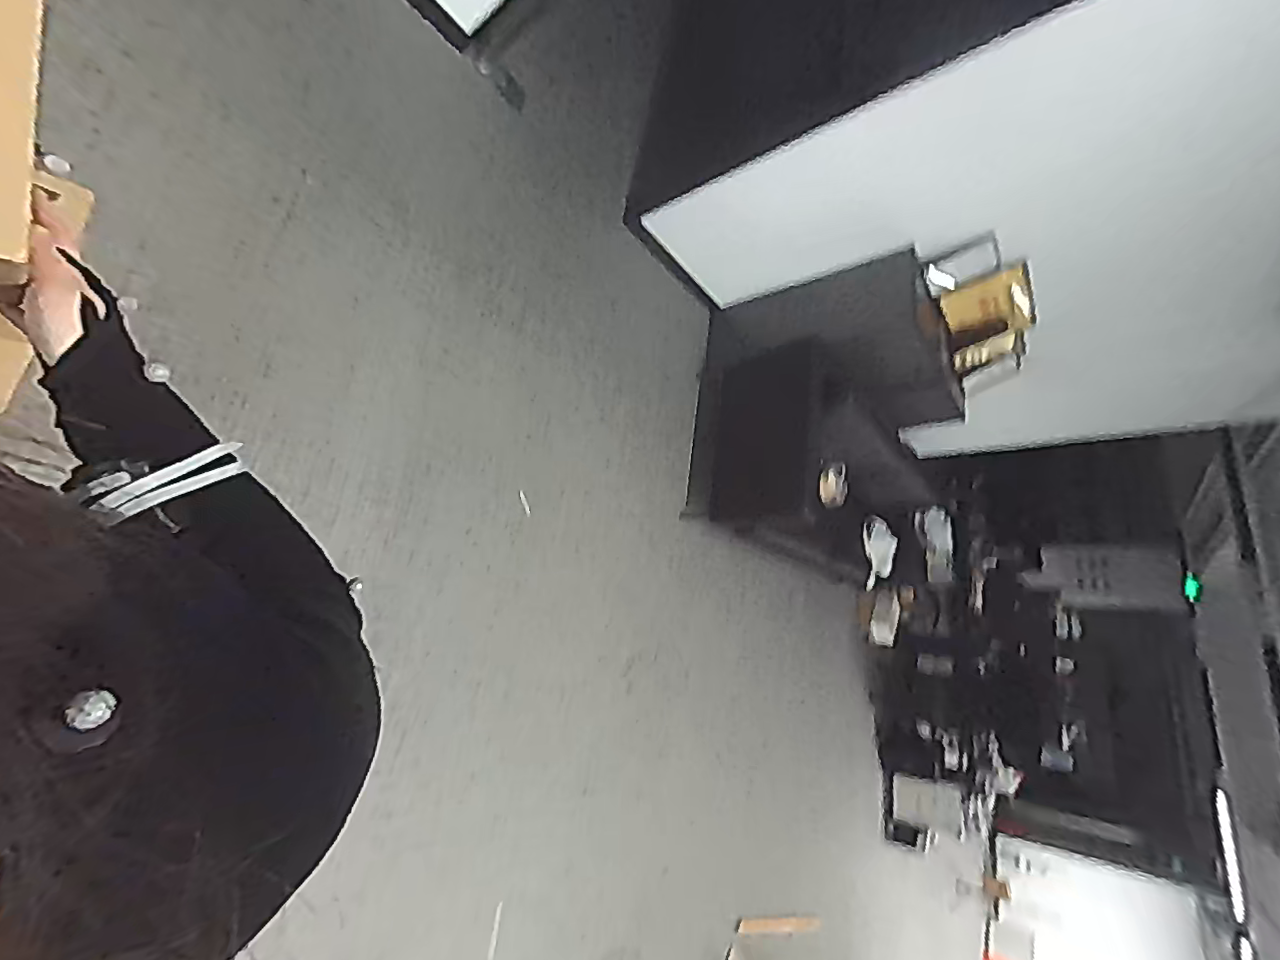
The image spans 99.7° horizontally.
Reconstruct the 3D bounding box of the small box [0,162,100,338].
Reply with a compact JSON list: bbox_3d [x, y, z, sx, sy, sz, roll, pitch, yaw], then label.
[{"bbox_3d":[-0.828,-0.306,0.679,0.168,0.176,0.179,21,71,-46],"label":"small box"}]

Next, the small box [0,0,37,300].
[{"bbox_3d":[-0.472,-0.217,0.308,0.168,0.176,0.179,4,91,-50],"label":"small box"}]
